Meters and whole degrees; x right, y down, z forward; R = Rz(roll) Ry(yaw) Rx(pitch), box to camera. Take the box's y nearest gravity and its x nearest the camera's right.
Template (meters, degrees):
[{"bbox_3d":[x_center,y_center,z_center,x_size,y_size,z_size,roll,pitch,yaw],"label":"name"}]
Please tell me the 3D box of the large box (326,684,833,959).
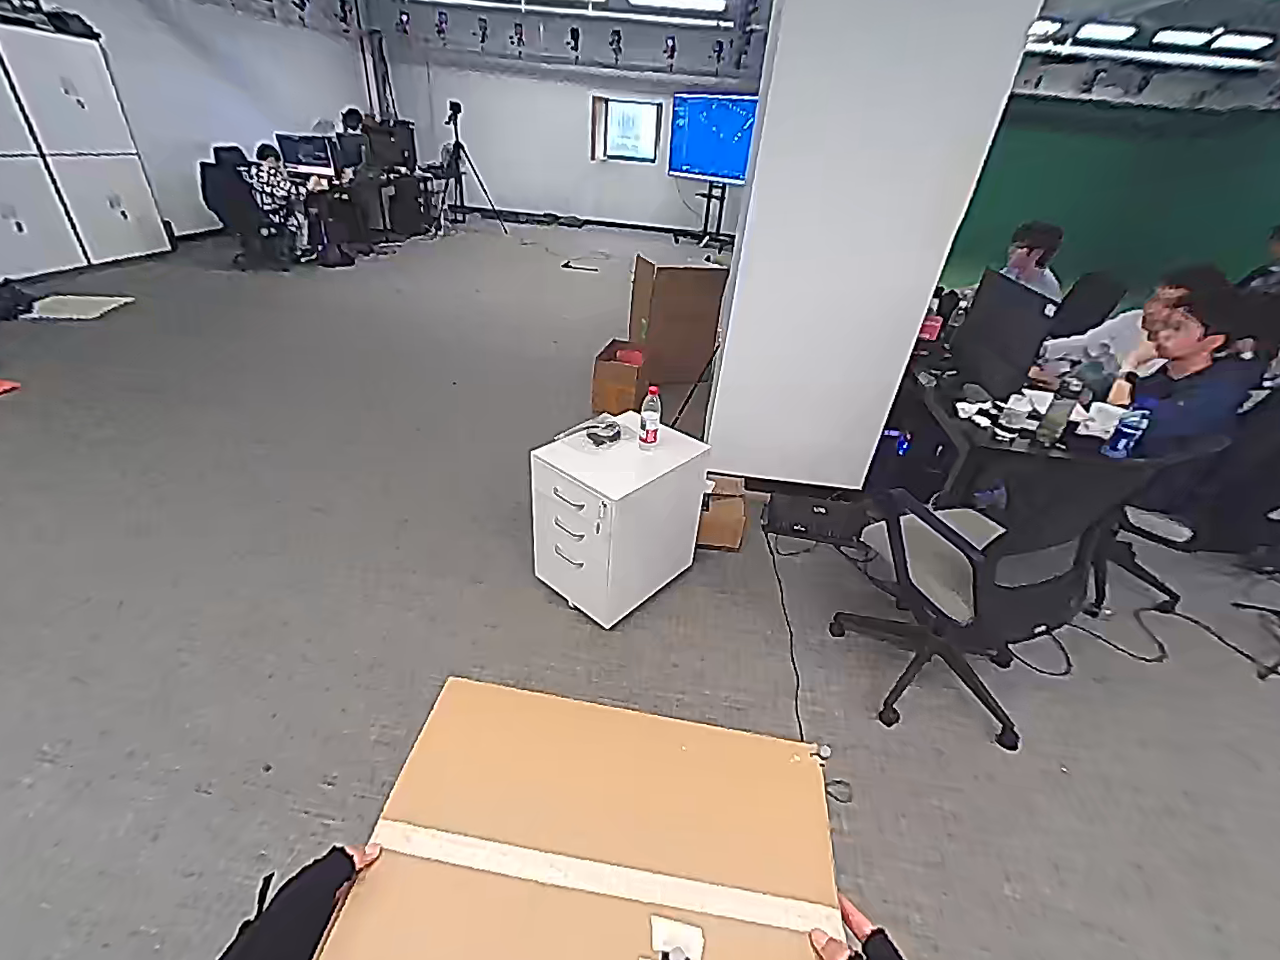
[{"bbox_3d":[-0.050,0.464,0.559,0.408,0.320,0.320,10,37,3],"label":"large box"}]
